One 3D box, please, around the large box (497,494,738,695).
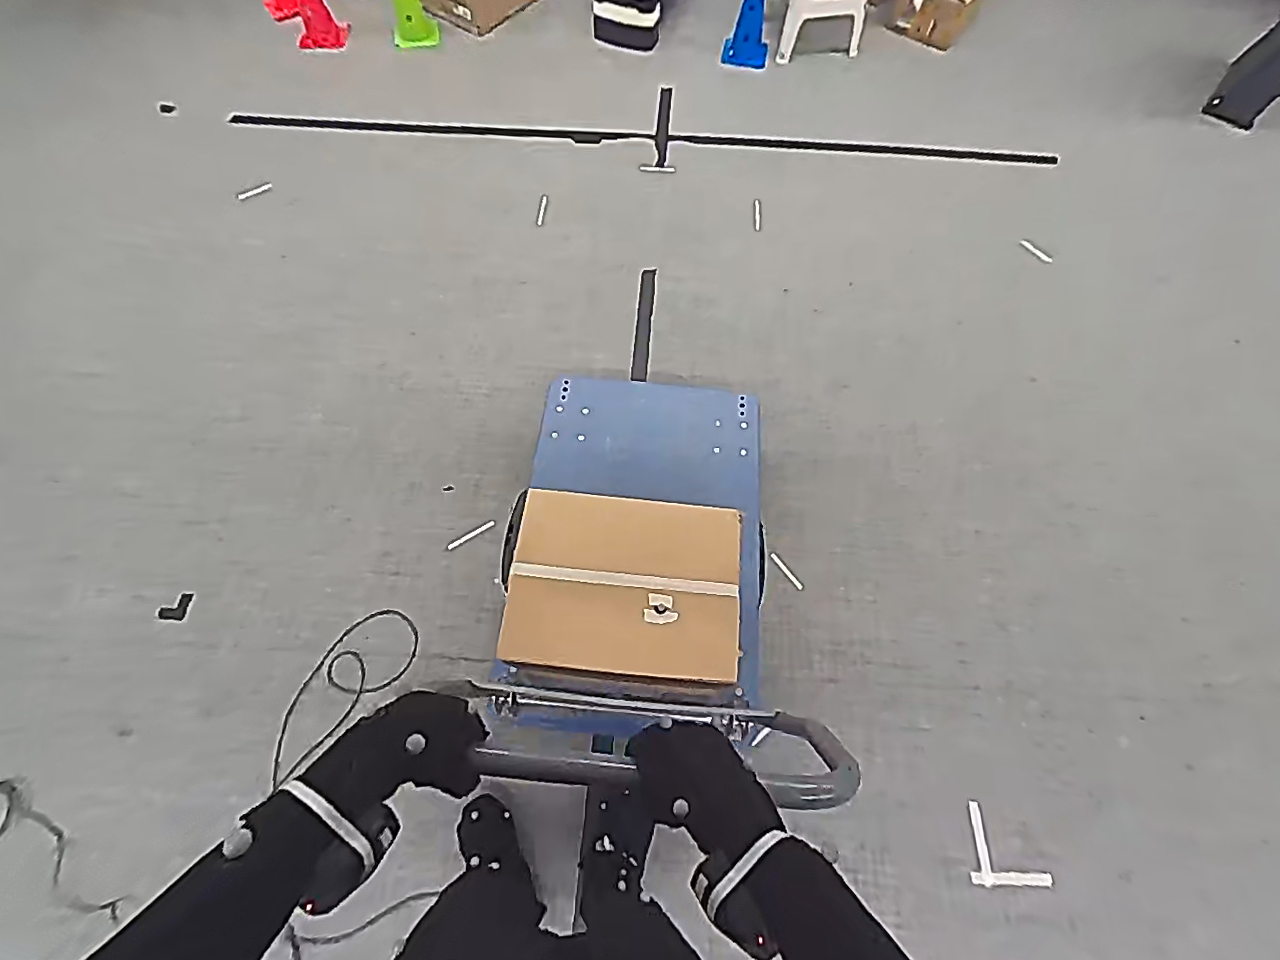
[{"bbox_3d":[-0.035,0.244,1.084,0.408,0.320,0.320,6,67,0],"label":"large box"}]
